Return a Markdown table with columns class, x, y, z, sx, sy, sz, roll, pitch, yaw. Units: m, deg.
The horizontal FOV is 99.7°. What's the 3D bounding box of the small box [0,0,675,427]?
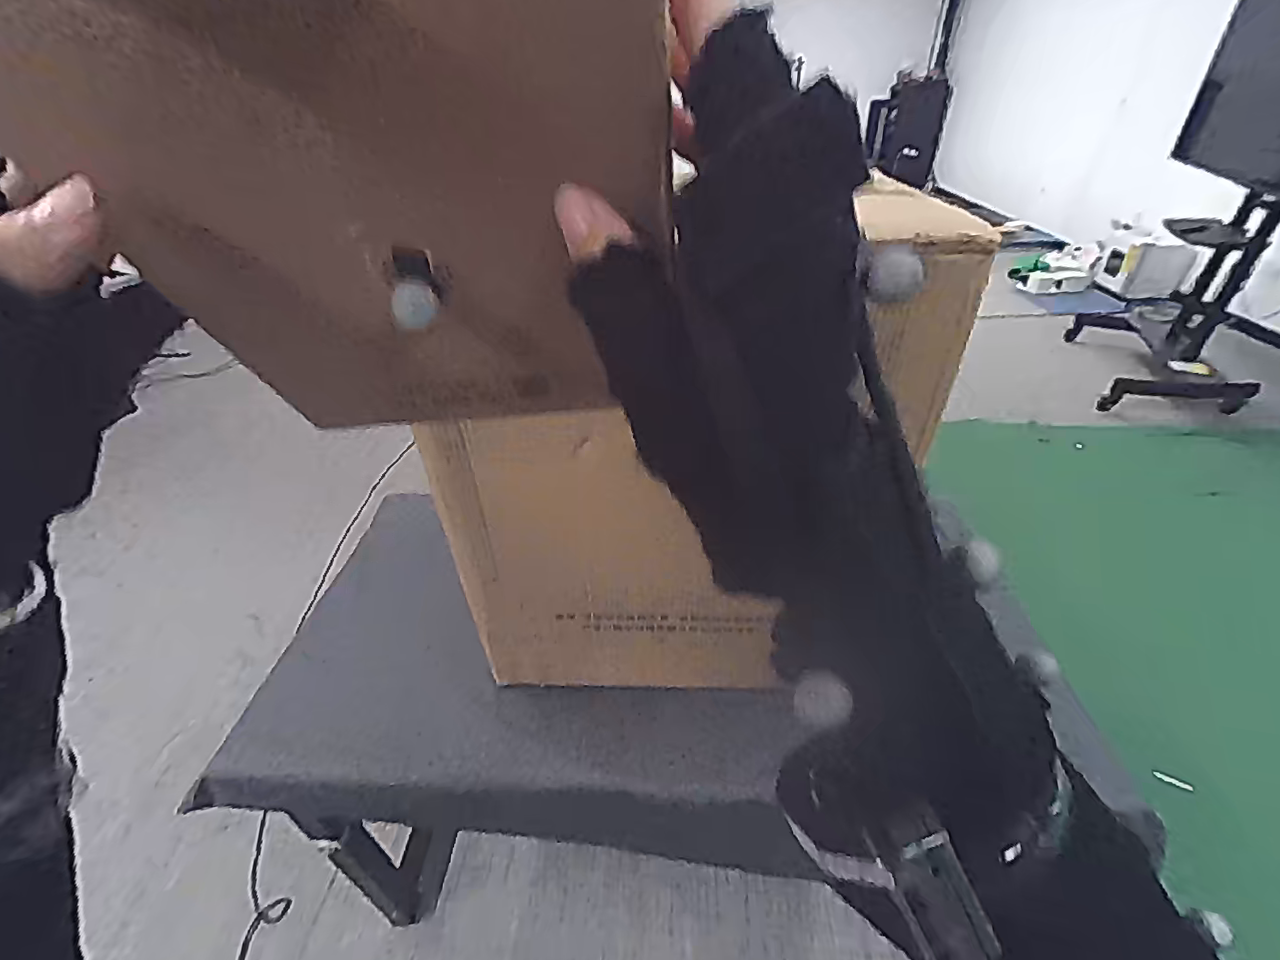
| class | x | y | z | sx | sy | sz | roll | pitch | yaw |
| --- | --- | --- | --- | --- | --- | --- | --- | --- | --- |
| small box | -0.077 | -0.136 | 0.233 | 0.168 | 0.176 | 0.179 | -7 | 61 | 5 |
